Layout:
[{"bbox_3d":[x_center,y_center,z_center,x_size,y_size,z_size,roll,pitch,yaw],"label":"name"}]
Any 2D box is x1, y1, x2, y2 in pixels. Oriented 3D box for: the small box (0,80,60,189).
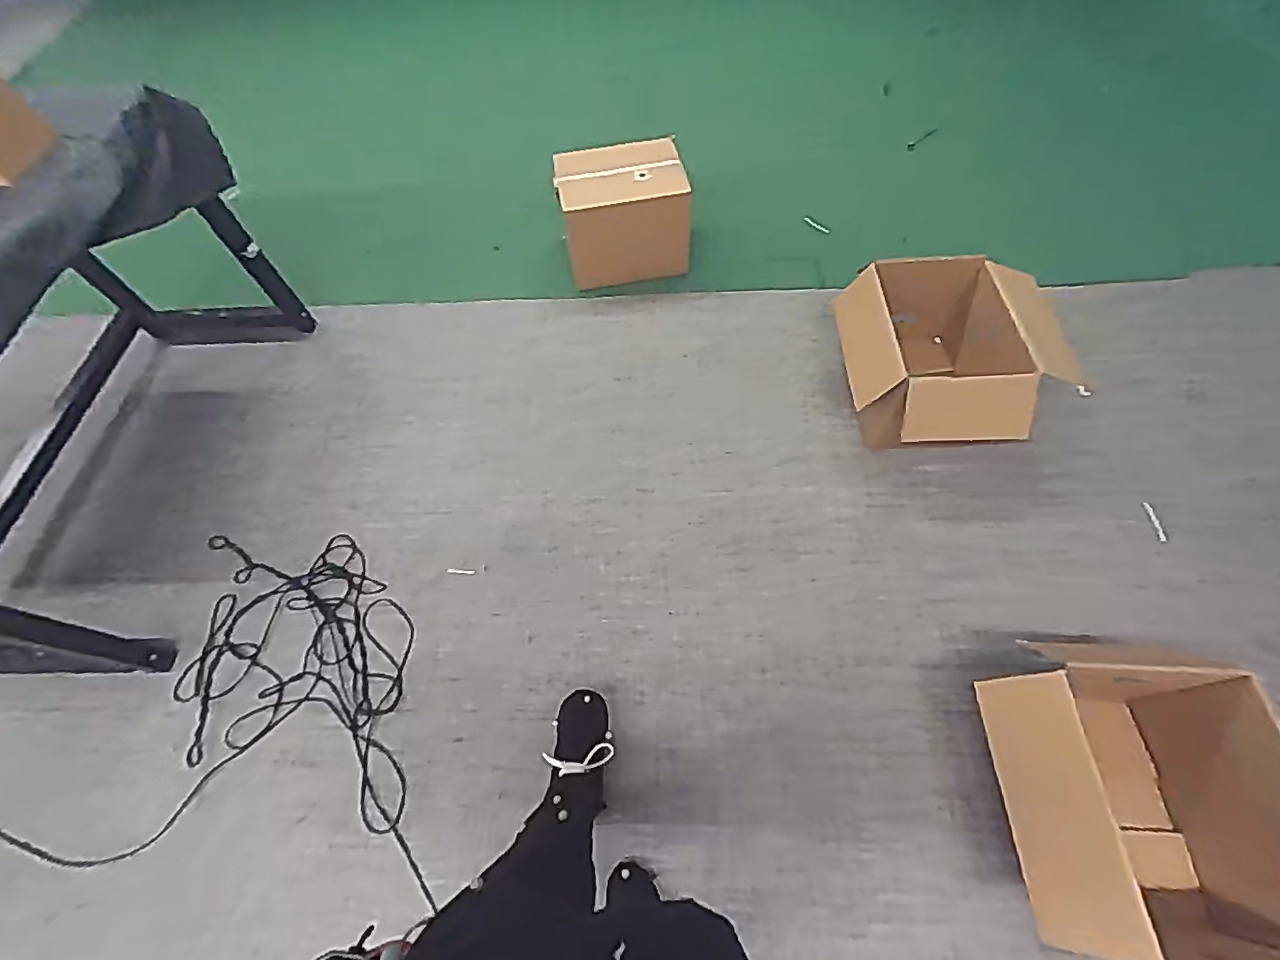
[{"bbox_3d":[-1.318,-0.691,1.054,0.168,0.176,0.179,1,60,5],"label":"small box"}]
